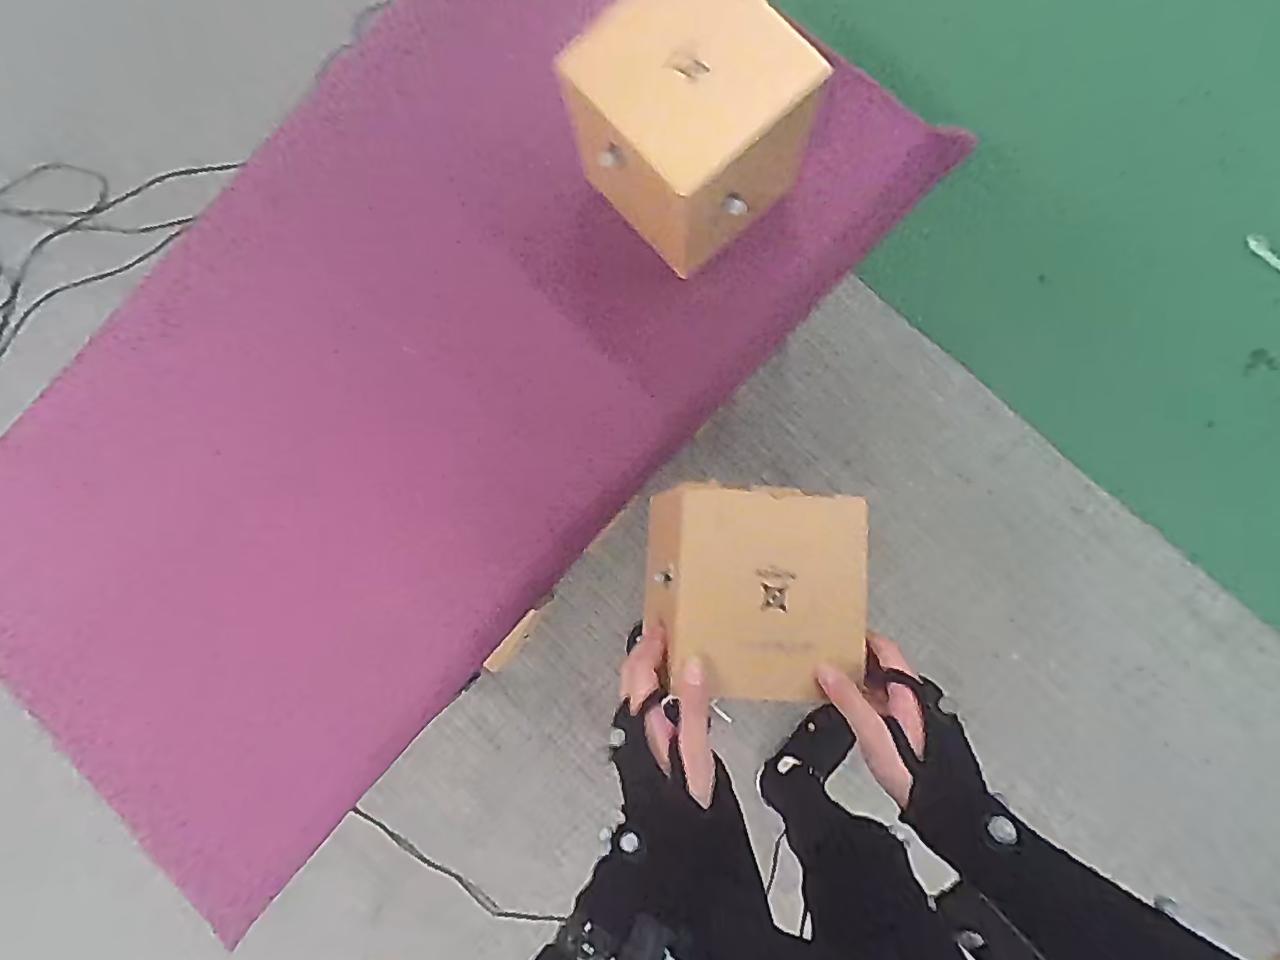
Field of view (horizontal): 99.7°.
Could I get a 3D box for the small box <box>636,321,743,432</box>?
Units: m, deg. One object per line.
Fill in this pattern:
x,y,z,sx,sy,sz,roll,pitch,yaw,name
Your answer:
0.111,-0.228,1.248,0.179,0.176,0.168,37,90,6,small box

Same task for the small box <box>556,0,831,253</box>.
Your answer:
0.051,-0.356,0.532,0.168,0.176,0.179,-41,83,2,small box

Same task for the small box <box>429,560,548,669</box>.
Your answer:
-0.338,0.298,1.249,0.179,0.176,0.168,35,89,6,small box
